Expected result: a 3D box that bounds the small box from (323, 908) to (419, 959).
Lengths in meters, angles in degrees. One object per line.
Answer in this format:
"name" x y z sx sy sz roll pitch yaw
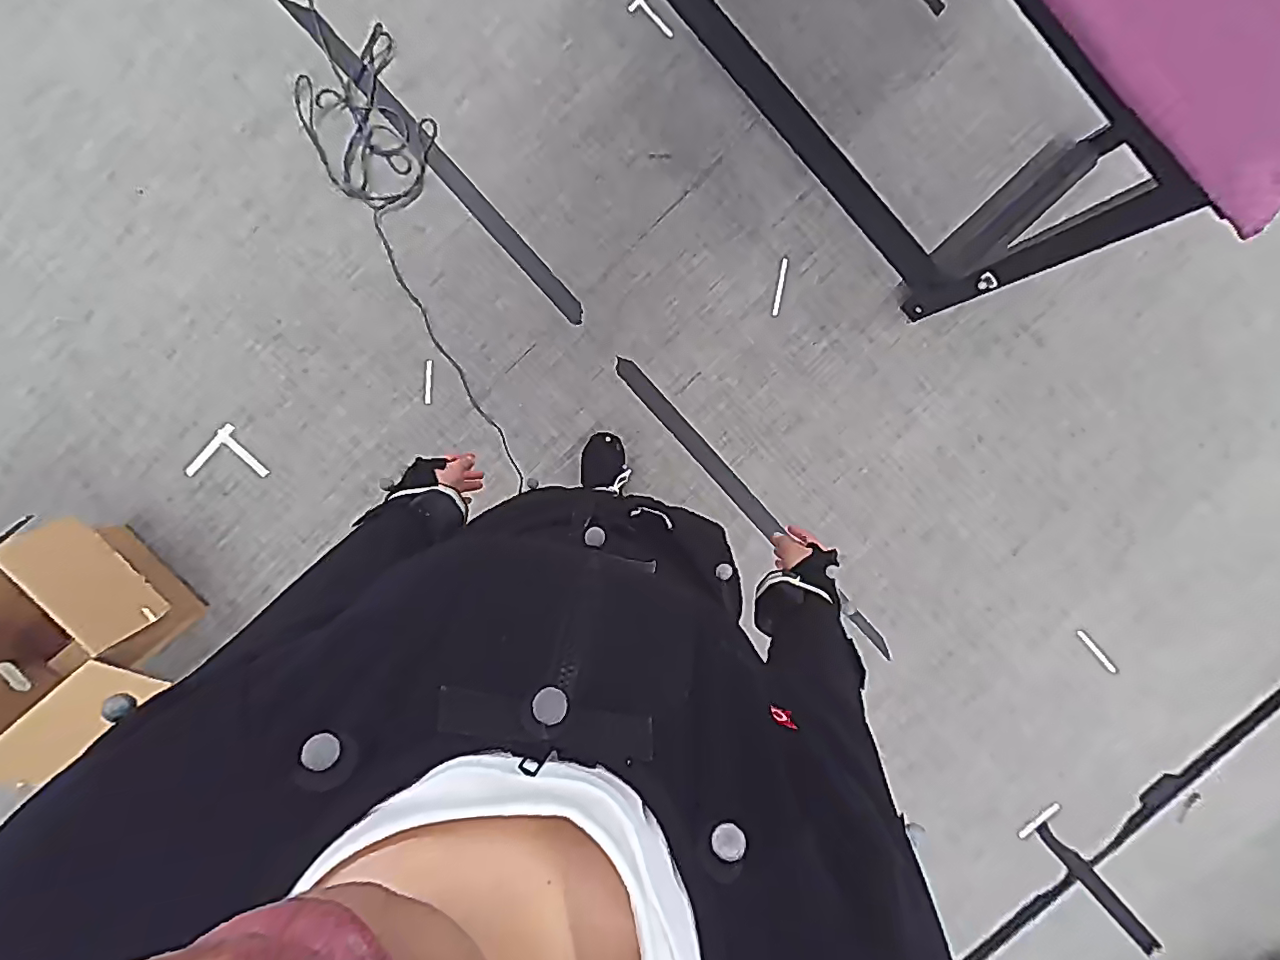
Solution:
"small box" -0.640 1.142 1.224 0.168 0.176 0.179 45 93 -5
